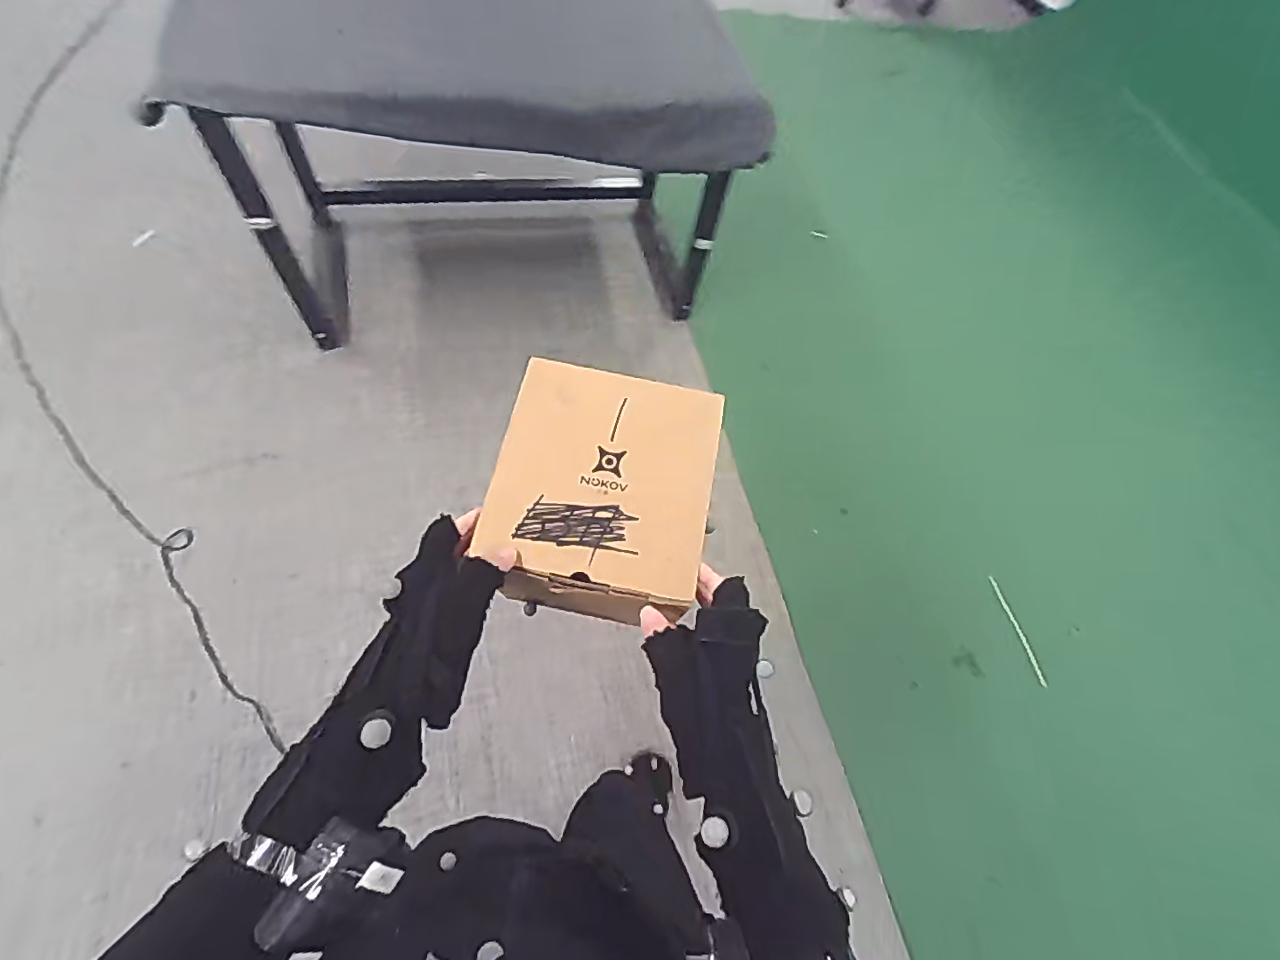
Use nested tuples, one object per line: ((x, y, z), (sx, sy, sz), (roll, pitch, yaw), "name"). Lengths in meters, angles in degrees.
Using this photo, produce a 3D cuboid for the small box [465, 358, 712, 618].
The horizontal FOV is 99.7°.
((-0.038, 0.020, 0.495), (0.168, 0.176, 0.179), (10, 67, 0), "small box")
